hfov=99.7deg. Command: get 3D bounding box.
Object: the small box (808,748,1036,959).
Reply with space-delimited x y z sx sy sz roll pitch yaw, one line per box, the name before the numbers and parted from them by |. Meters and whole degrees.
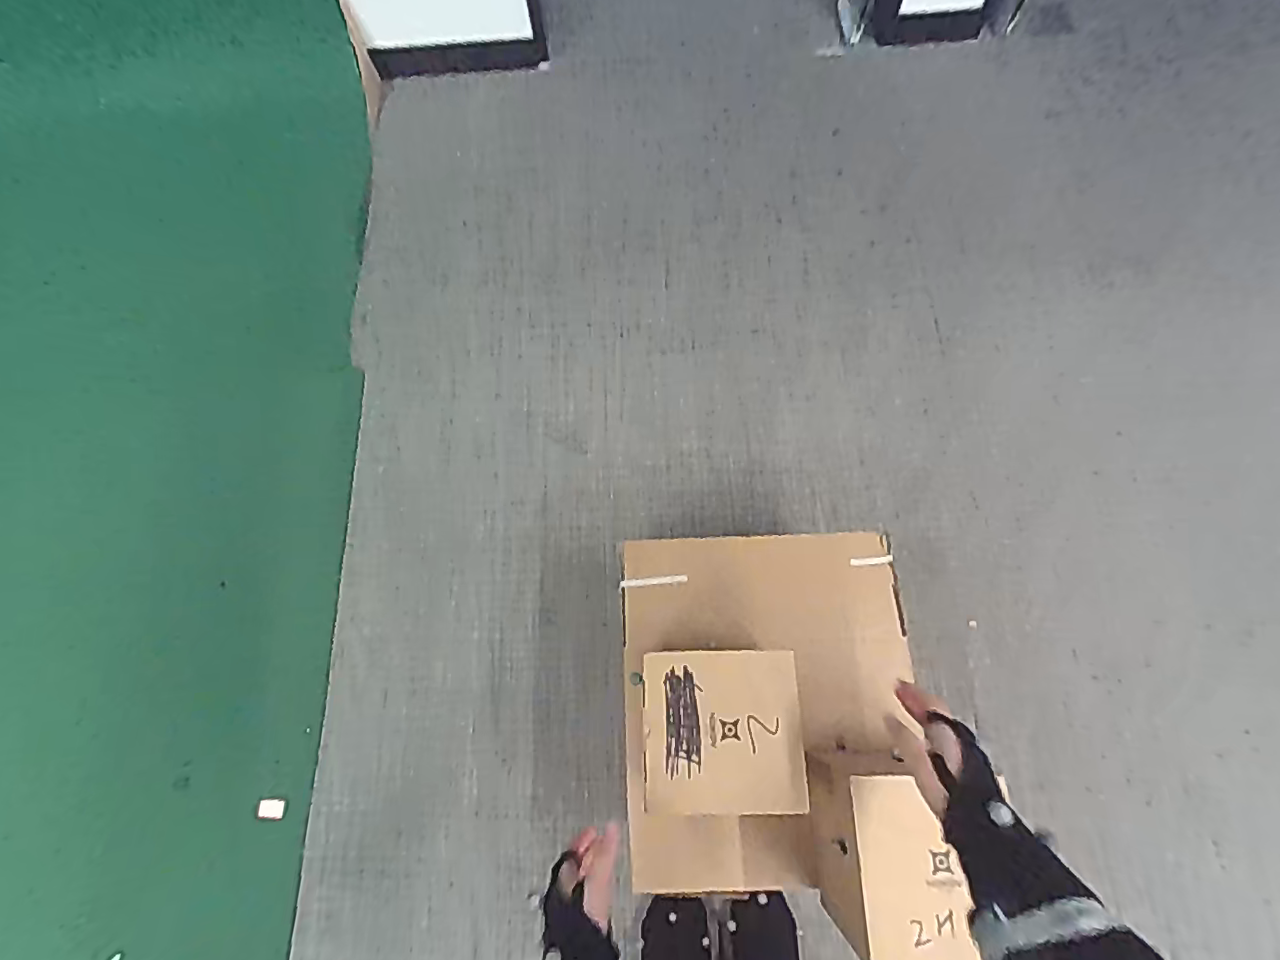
small box | 0.303 0.416 0.627 0.168 0.176 0.179 -1 72 1
